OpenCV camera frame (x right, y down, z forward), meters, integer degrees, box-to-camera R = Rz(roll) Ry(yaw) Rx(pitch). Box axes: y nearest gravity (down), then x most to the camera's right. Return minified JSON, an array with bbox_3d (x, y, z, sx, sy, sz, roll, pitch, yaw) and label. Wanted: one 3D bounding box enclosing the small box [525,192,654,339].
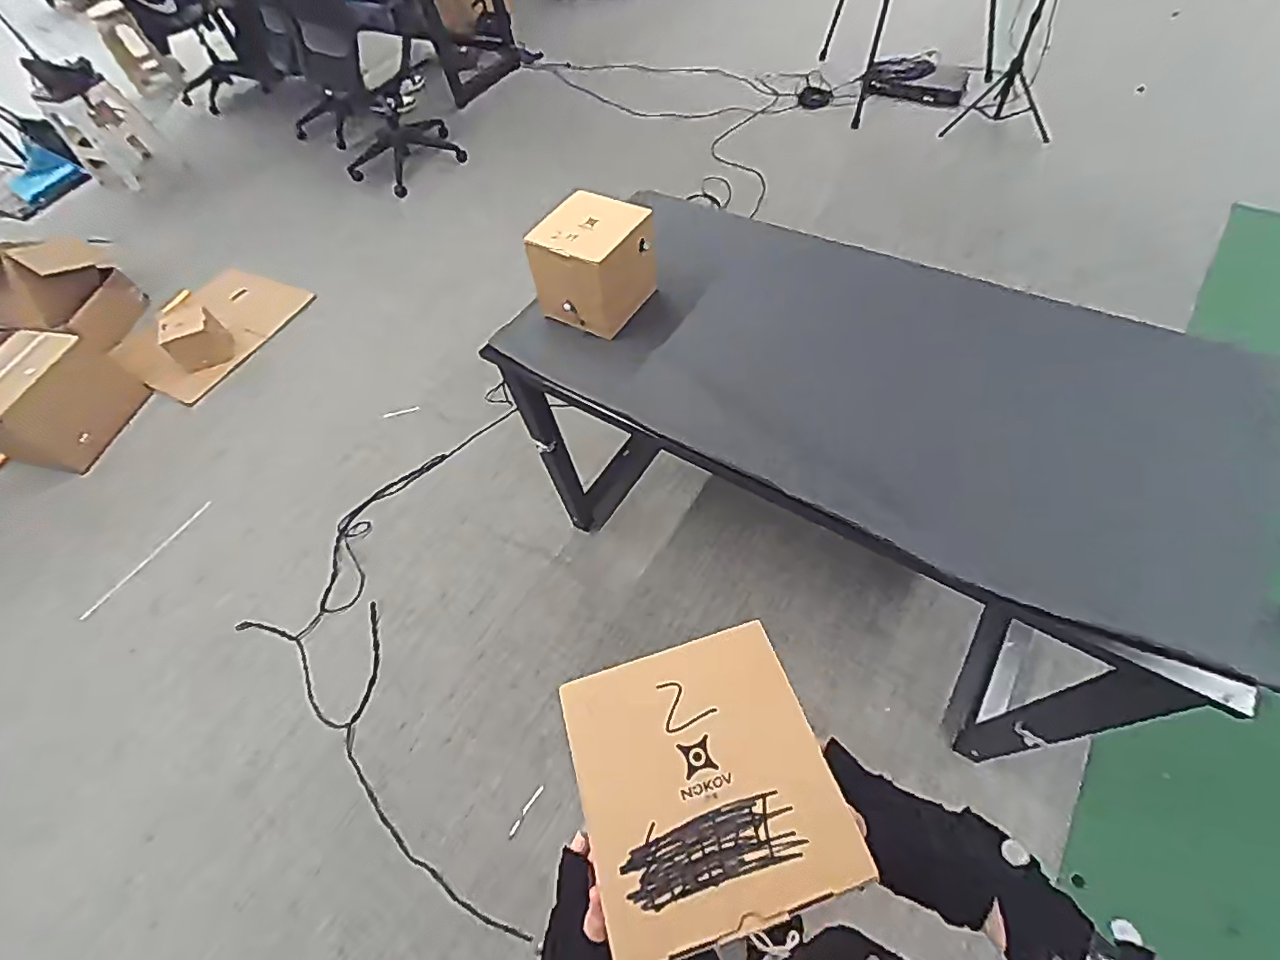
[{"bbox_3d":[-0.085,-0.401,1.017,0.168,0.176,0.179,26,62,20],"label":"small box"}]
